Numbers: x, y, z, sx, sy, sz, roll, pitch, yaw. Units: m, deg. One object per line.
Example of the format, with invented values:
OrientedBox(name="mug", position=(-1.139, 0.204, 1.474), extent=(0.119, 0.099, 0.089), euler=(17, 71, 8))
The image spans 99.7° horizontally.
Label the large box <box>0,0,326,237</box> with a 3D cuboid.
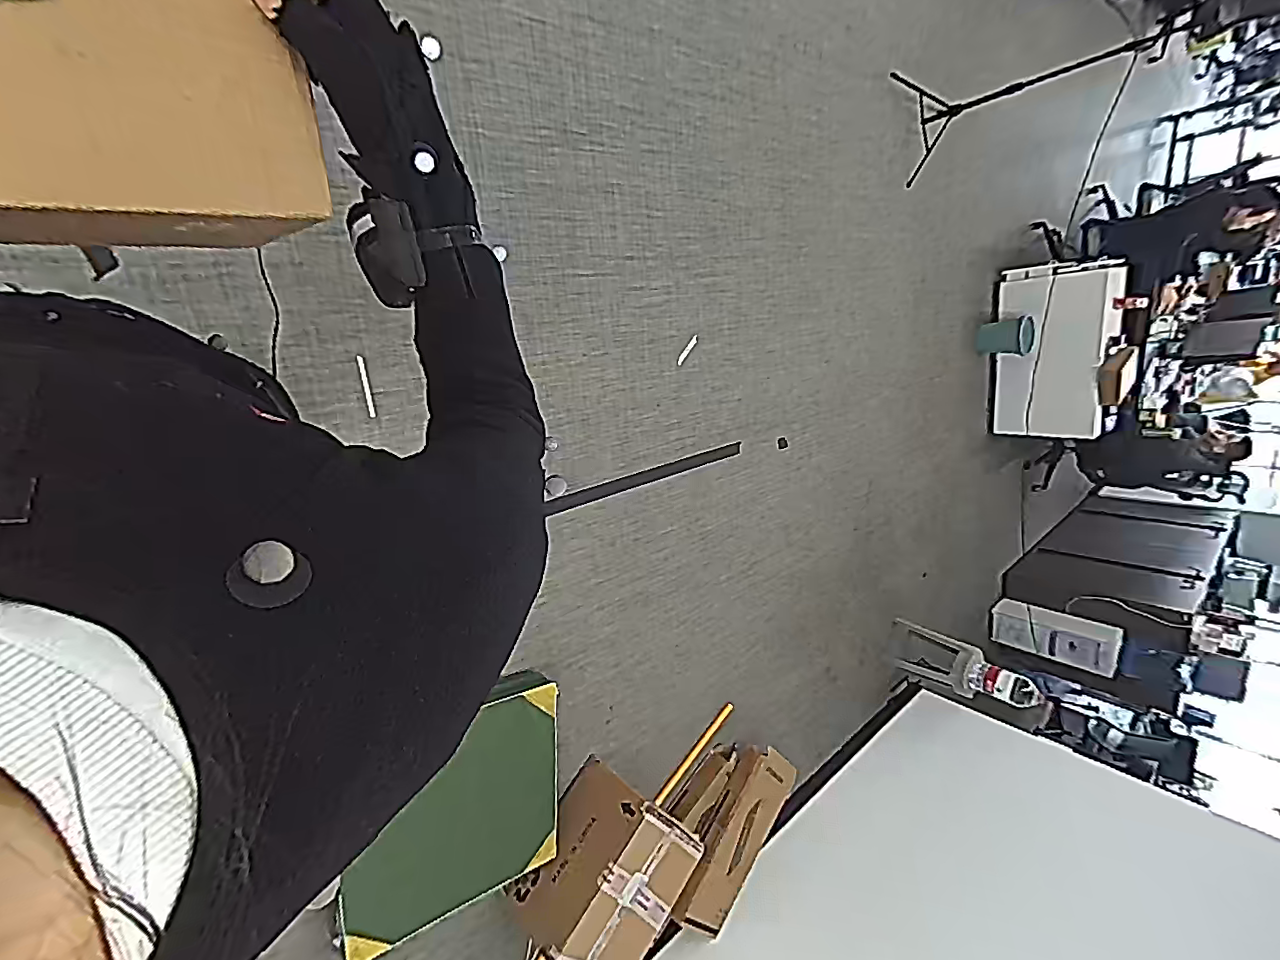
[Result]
OrientedBox(name="large box", position=(-0.473, -0.317, 0.309), extent=(0.408, 0.320, 0.320), euler=(-20, 118, -38))
